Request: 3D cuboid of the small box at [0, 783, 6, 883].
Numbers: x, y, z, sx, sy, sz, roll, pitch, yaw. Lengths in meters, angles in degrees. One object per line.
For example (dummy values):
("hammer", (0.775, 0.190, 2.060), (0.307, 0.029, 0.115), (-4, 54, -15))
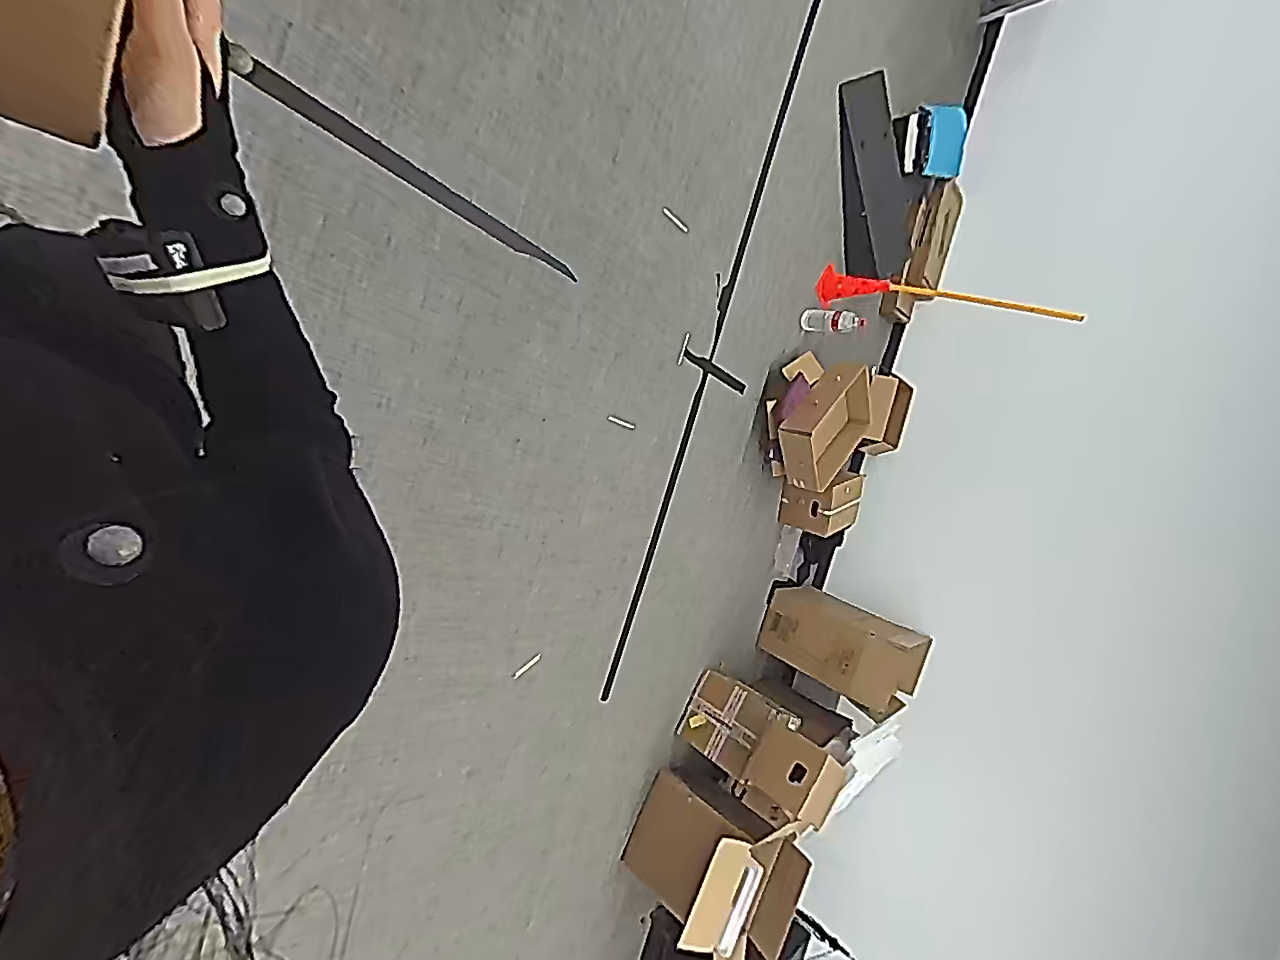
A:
("small box", (-1.301, 0.696, 0.988), (0.179, 0.176, 0.168), (6, 99, -49))
